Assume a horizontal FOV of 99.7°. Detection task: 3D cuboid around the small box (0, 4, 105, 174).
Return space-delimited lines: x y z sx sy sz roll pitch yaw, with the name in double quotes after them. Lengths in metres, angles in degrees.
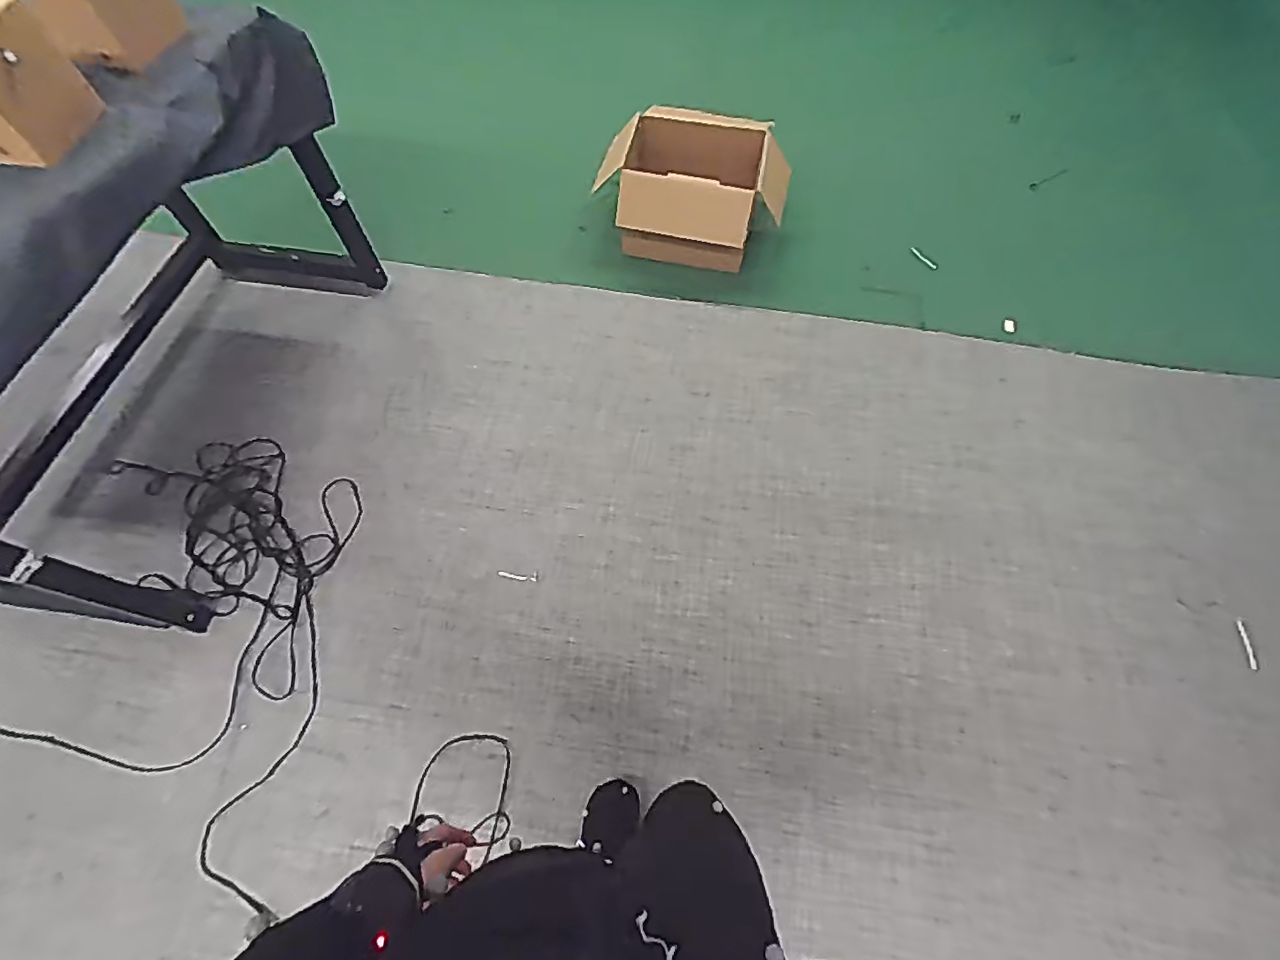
-1.043 -0.633 0.874 0.168 0.176 0.179 6 63 2 "small box"
